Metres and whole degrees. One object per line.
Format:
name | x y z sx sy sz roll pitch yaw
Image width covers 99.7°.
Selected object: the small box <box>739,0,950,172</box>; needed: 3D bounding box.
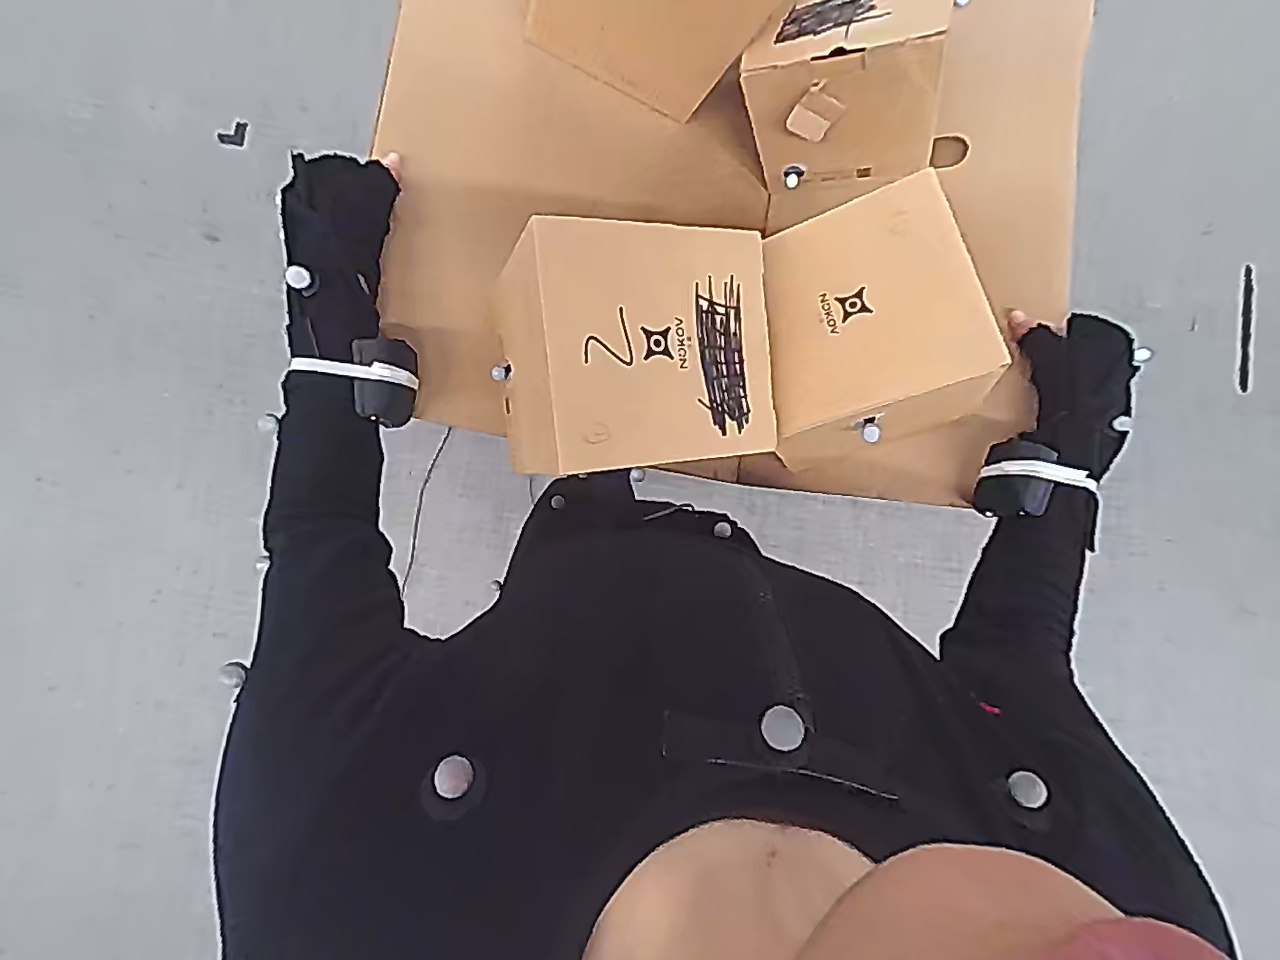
small box | 0.207 -0.432 0.532 0.168 0.176 0.179 8 83 23
